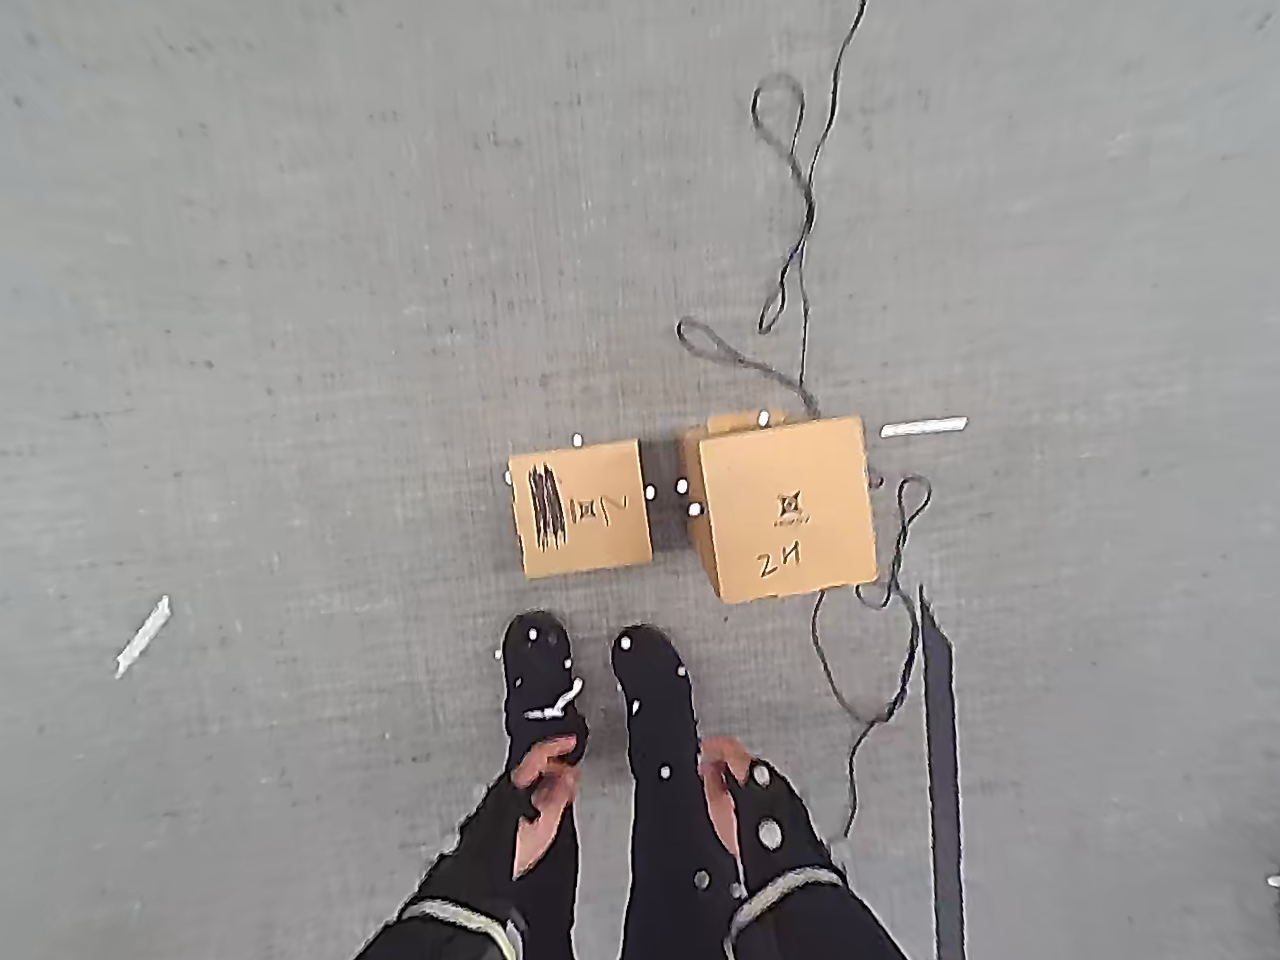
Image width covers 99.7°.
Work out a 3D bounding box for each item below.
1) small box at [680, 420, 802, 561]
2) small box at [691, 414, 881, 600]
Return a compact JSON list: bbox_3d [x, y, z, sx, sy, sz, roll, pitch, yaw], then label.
[{"bbox_3d":[0.154,0.009,0.798,0.168,0.176,0.179,-7,96,0],"label":"small box"},{"bbox_3d":[0.157,0.023,0.634,0.168,0.176,0.179,-8,95,1],"label":"small box"}]
